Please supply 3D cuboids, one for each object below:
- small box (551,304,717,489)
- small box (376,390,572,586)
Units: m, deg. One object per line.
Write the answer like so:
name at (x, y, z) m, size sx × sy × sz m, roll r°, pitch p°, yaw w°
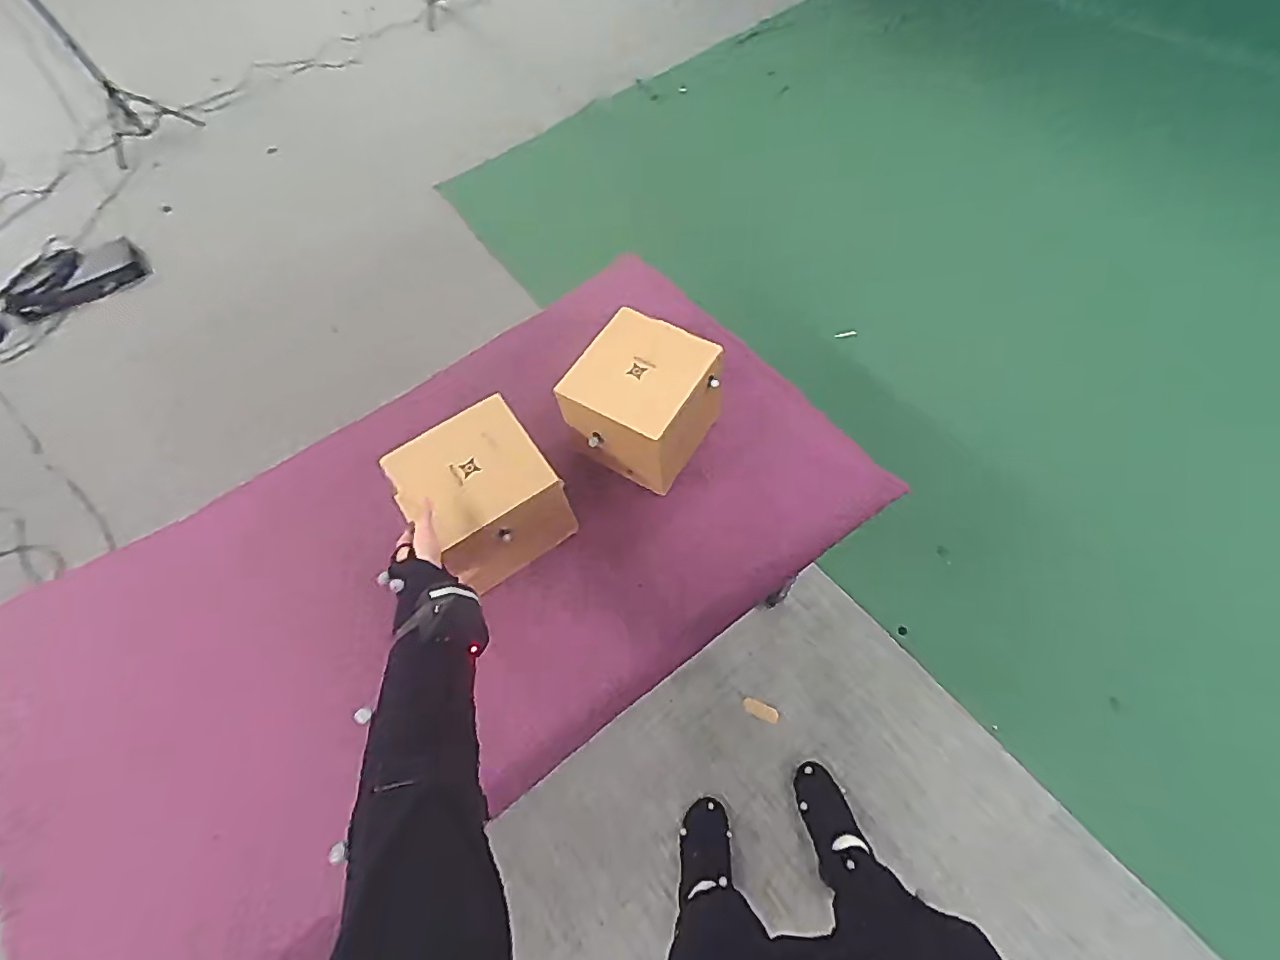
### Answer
small box at (0.000, -0.116, 0.793) m, size 0.168 × 0.176 × 0.179 m, roll 28°, pitch 67°, yaw 17°
small box at (-0.214, 0.019, 0.736) m, size 0.179 × 0.176 × 0.168 m, roll -32°, pitch 66°, yaw -13°
